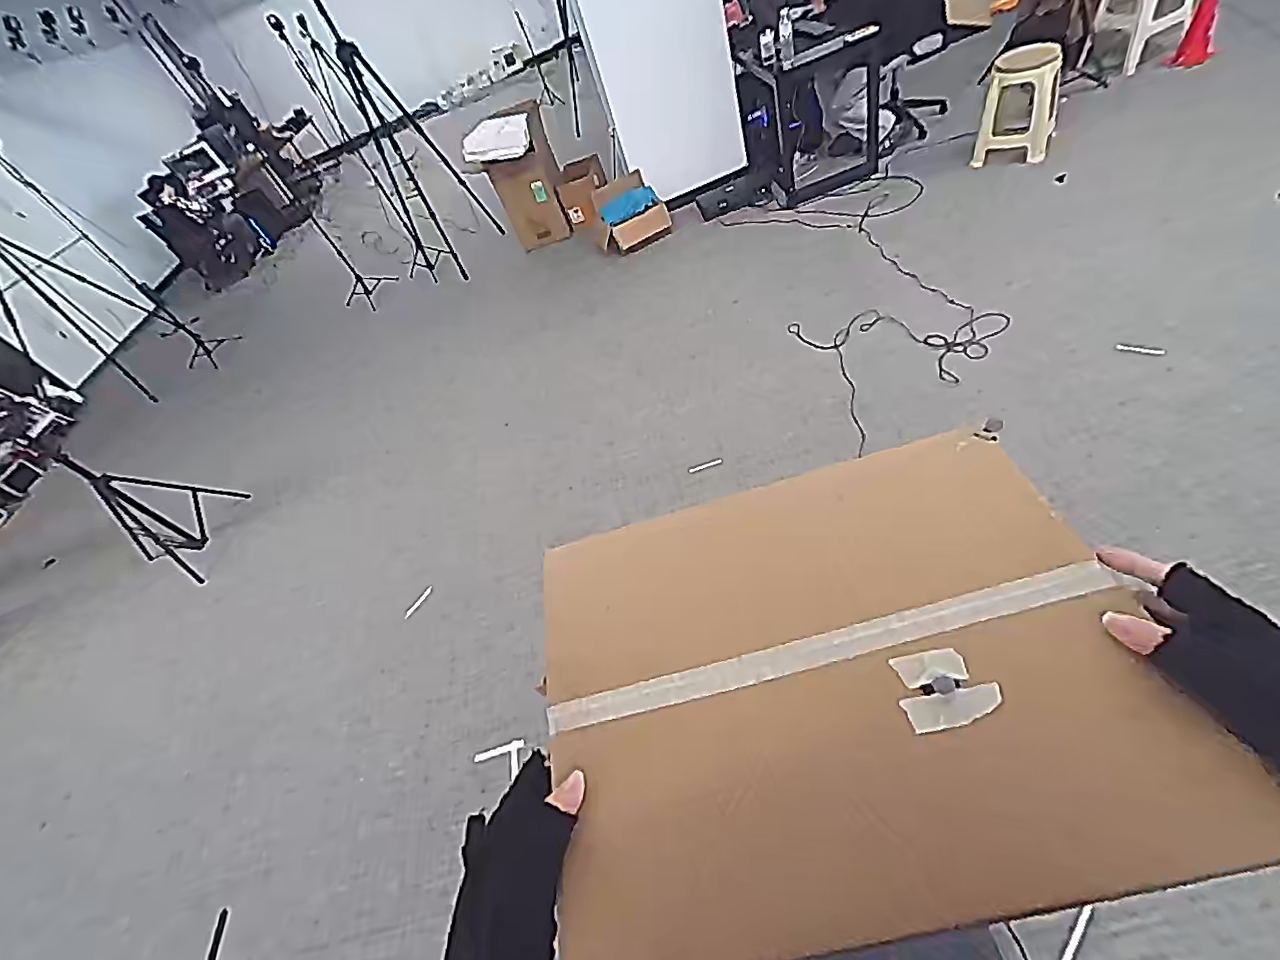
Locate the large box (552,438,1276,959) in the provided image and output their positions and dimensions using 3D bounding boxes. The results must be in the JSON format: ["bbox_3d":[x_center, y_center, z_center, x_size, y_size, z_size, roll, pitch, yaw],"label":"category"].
[{"bbox_3d":[0.165,0.223,0.511,0.408,0.320,0.320,-17,49,5],"label":"large box"}]
